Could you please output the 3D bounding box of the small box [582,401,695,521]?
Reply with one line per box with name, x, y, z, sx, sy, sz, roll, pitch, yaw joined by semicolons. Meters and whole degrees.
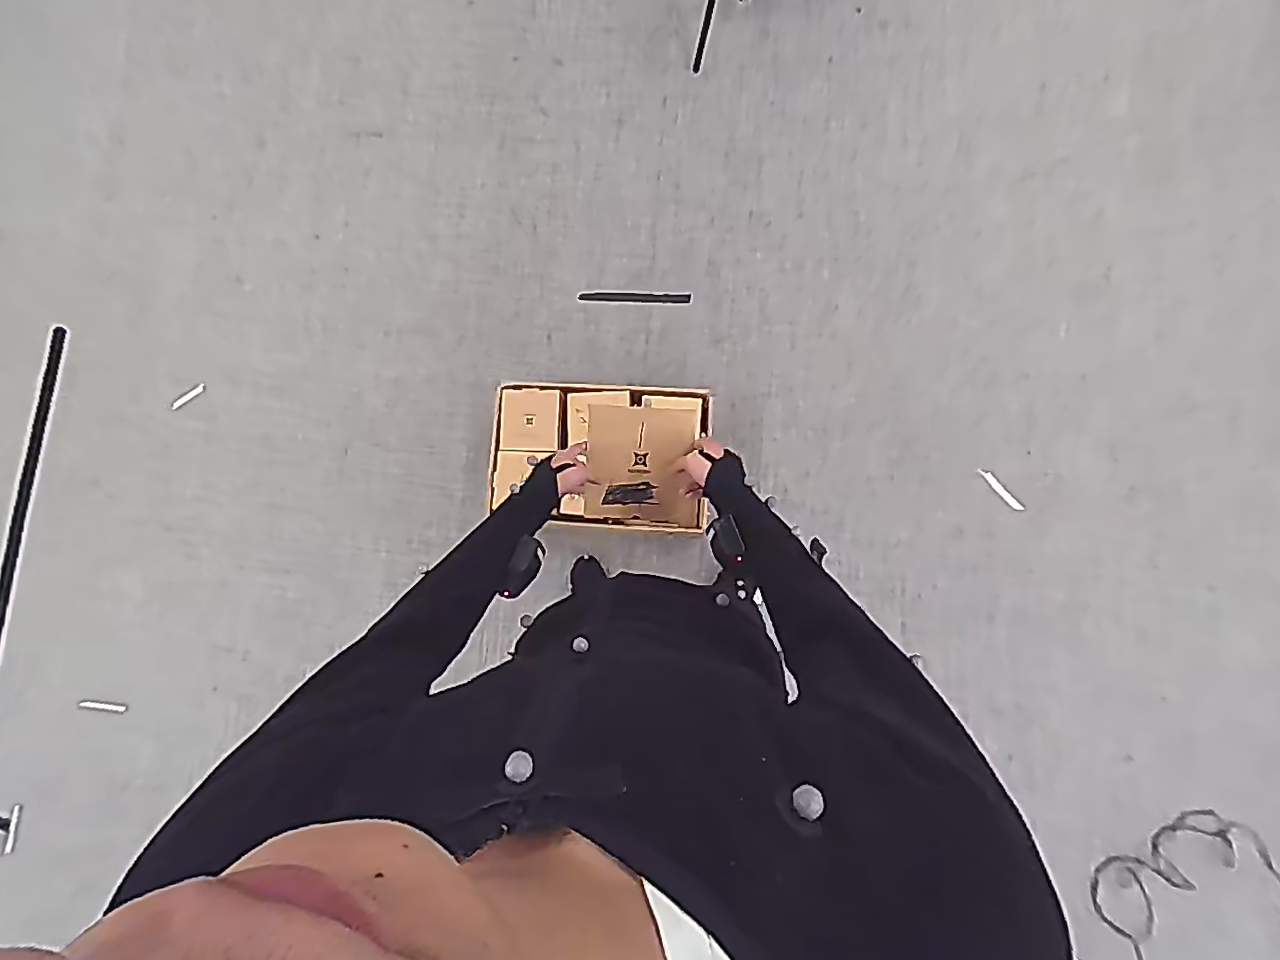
small box;-0.001;-0.038;0.903;0.168;0.176;0.179;3;97;0
